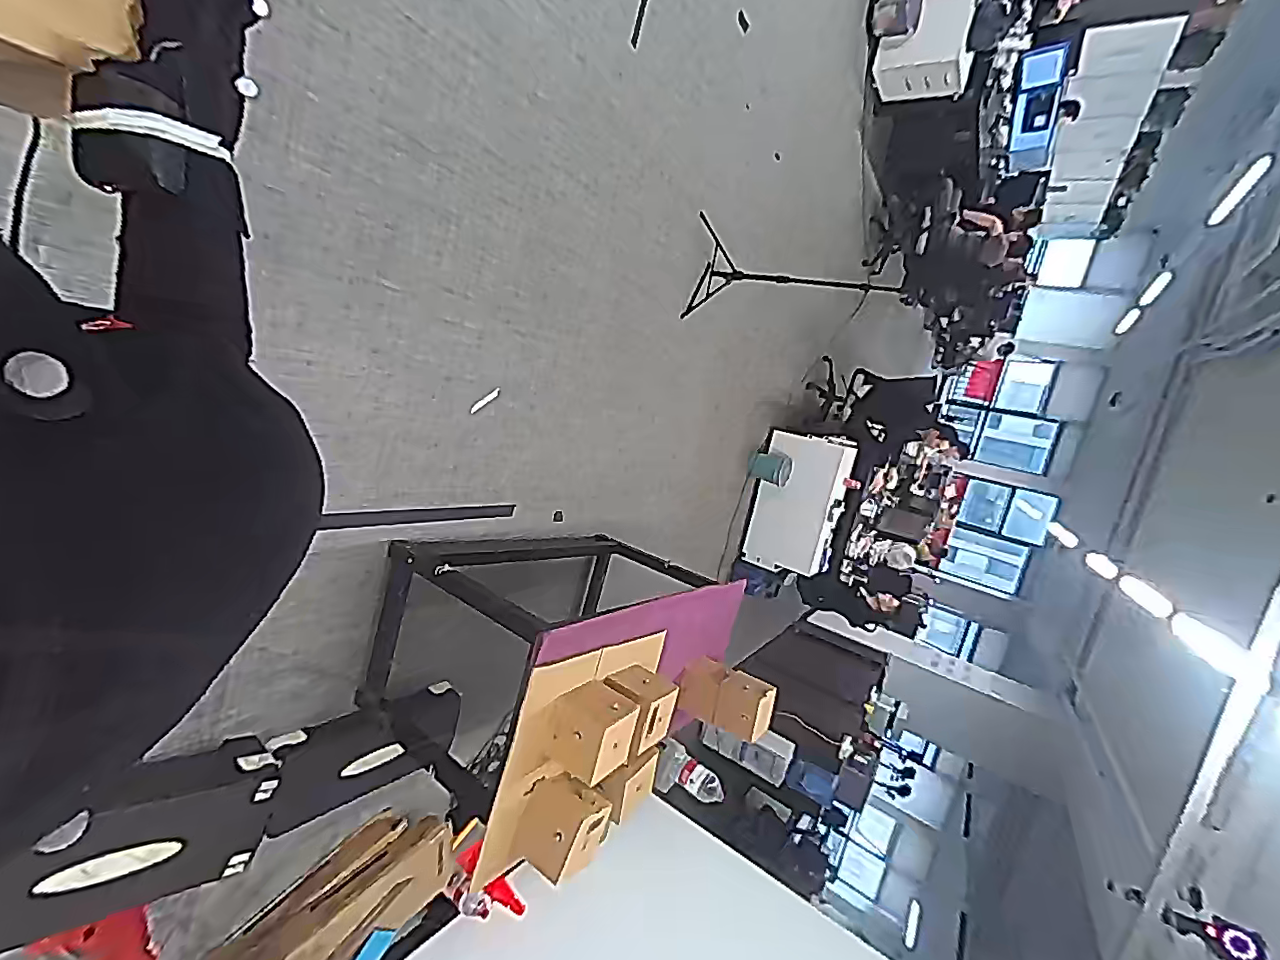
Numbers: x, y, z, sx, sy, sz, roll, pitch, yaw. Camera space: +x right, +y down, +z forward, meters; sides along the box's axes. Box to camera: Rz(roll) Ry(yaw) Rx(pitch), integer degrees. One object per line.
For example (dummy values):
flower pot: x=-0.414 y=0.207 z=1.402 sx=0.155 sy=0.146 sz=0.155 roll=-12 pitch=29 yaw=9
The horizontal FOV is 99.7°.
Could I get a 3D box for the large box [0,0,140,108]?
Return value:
large box: x=-0.551 y=-0.454 z=0.262 sx=0.408 sy=0.320 sz=0.320 roll=-4 pitch=112 yaw=-56
